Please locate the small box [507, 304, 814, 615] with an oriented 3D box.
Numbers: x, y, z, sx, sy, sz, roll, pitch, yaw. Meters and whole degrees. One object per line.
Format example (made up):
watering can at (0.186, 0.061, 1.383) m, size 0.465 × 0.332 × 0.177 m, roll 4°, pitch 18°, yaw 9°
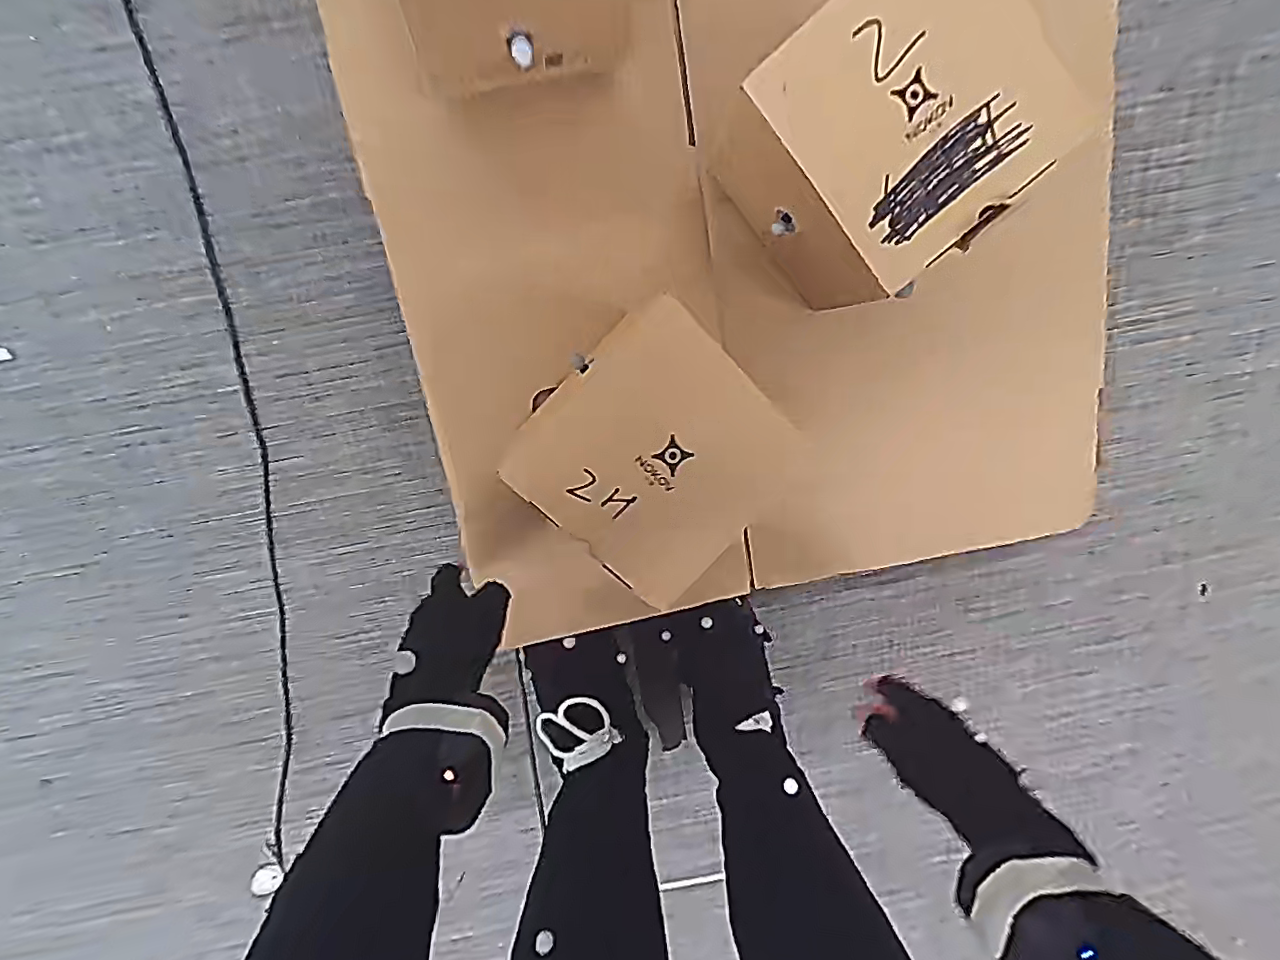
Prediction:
small box at (0.007, -0.025, 0.473) m, size 0.168 × 0.176 × 0.179 m, roll 44°, pitch 93°, yaw -14°
